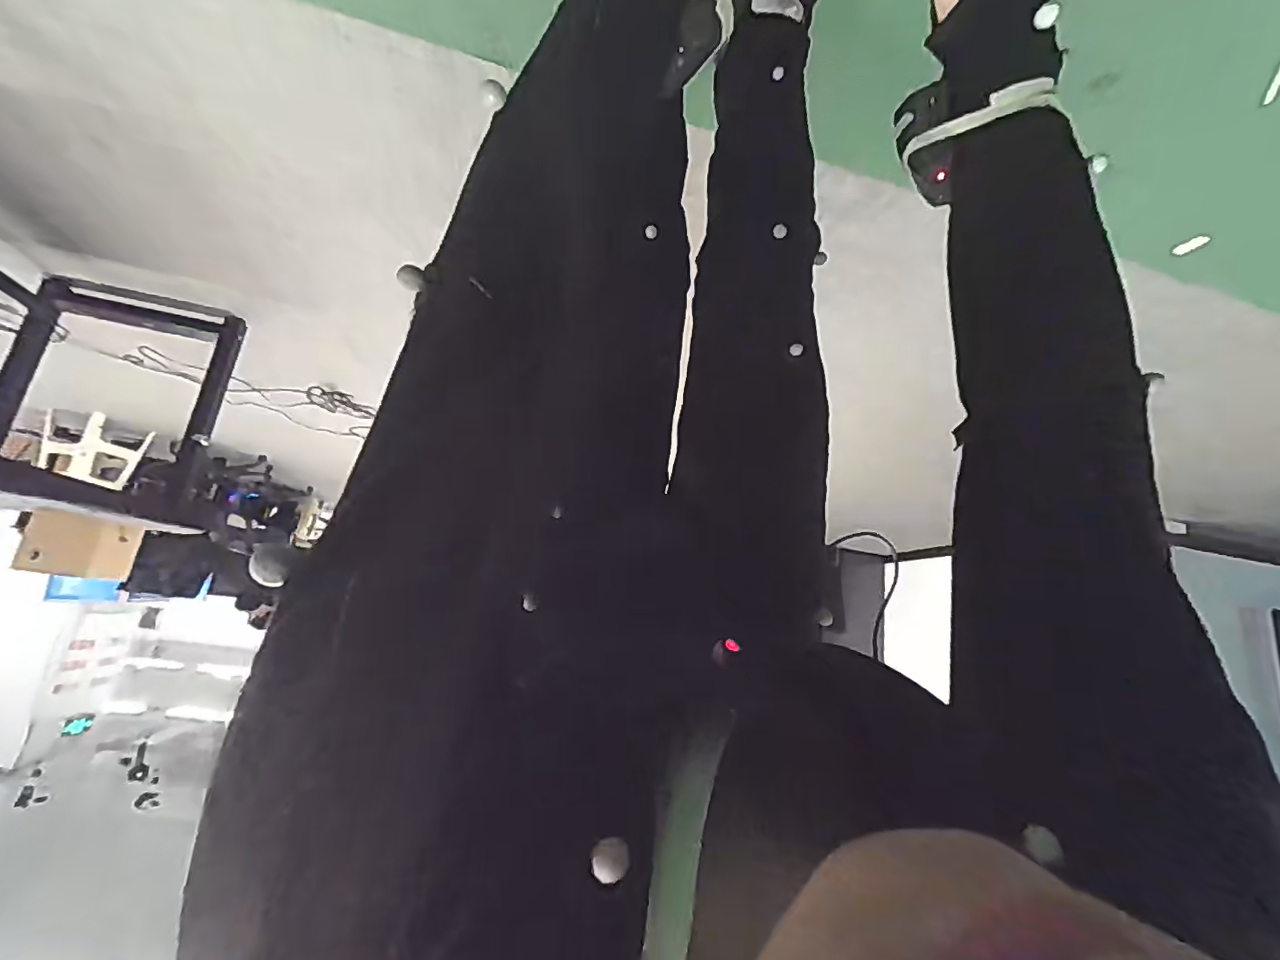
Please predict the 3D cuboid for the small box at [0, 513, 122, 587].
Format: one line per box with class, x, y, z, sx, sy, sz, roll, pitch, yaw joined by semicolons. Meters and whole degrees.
small box;-1.581;0.190;1.468;0.179;0.176;0.168;11;164;-11
